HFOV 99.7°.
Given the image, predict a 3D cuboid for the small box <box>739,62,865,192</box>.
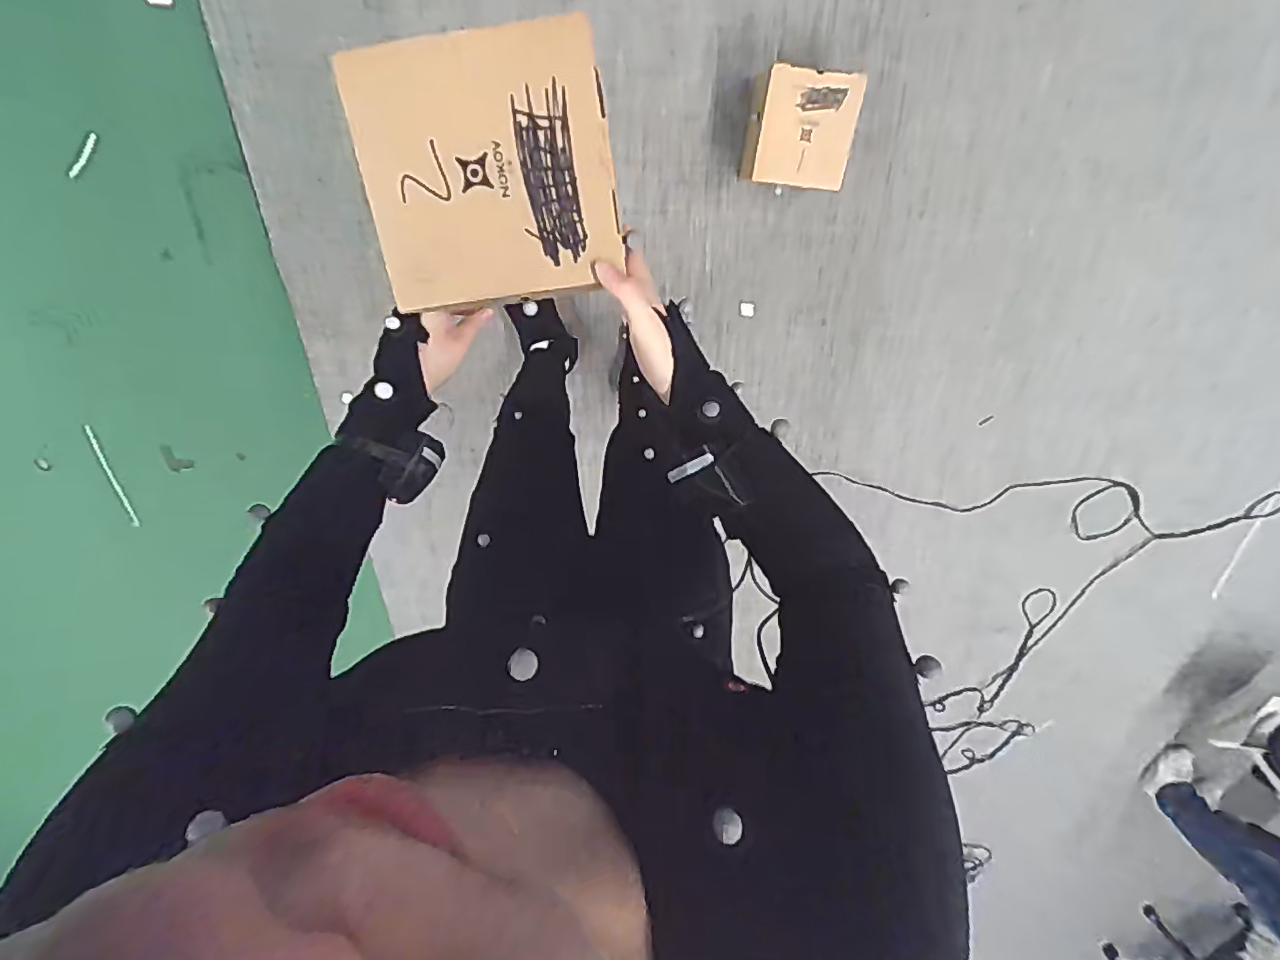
[{"bbox_3d":[0.288,-0.648,1.009,0.168,0.176,0.179,6,120,-3],"label":"small box"}]
